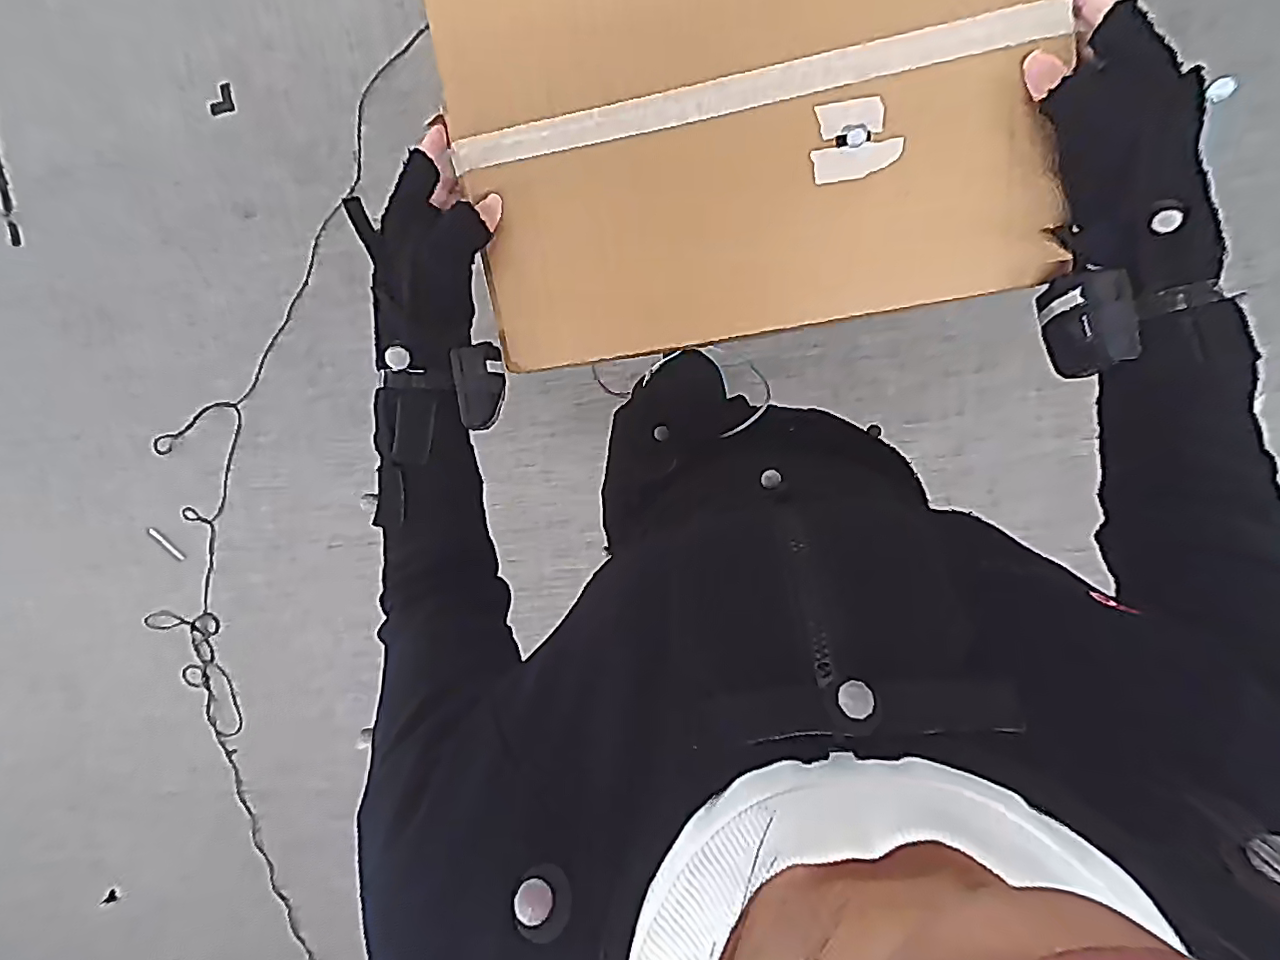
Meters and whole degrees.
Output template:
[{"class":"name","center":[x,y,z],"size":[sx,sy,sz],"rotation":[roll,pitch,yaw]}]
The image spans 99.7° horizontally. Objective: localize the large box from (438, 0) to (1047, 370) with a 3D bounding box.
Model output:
[{"class":"large box","center":[0.082,-0.298,0.524],"size":[0.408,0.320,0.320],"rotation":[-8,103,7]}]
